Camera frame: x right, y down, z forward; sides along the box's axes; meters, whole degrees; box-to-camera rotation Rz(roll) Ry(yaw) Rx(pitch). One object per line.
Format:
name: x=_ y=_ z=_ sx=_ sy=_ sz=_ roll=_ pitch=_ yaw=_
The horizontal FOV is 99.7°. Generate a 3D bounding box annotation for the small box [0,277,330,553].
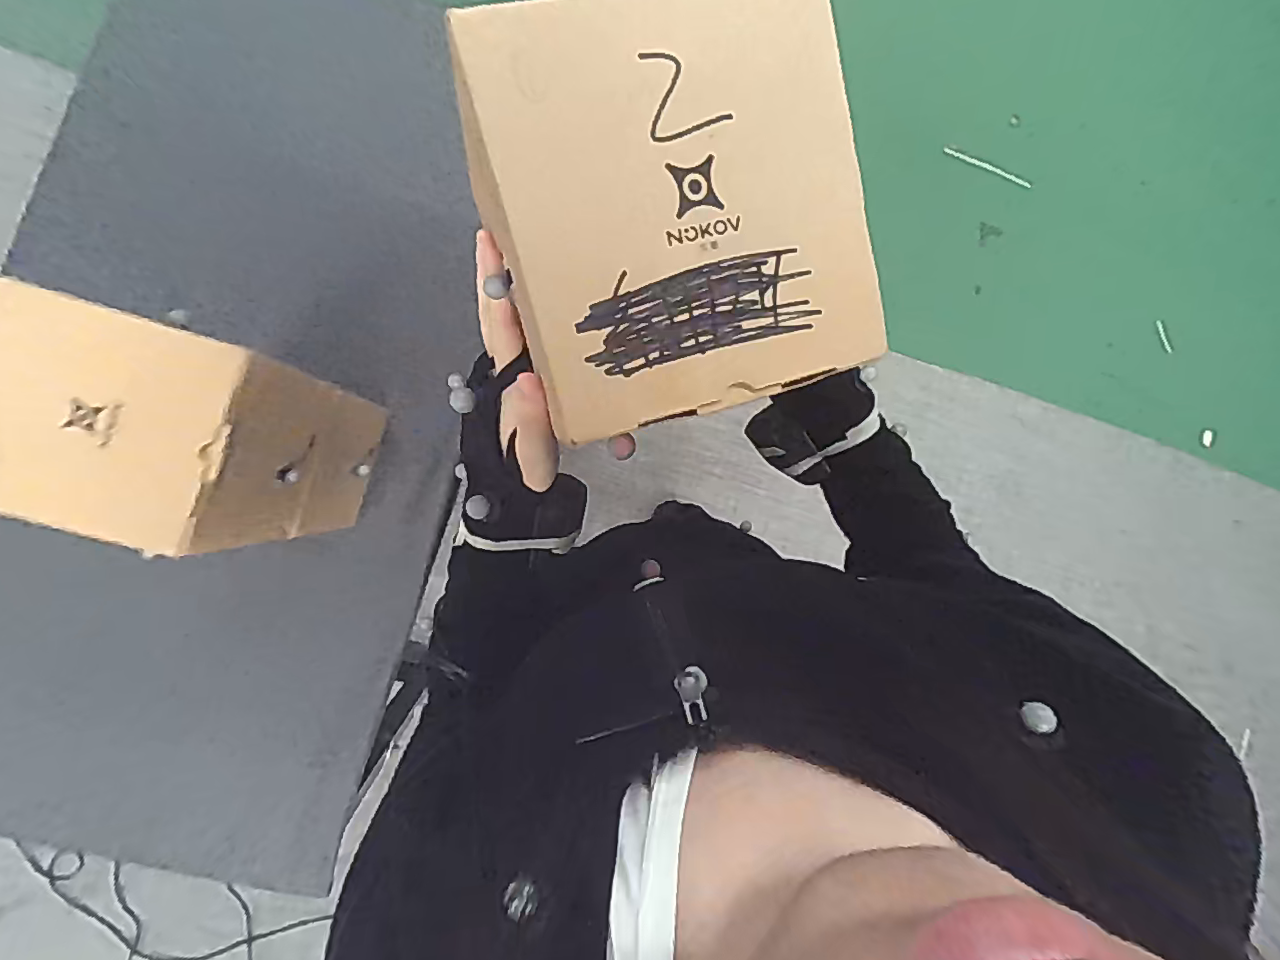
small box: x=-0.414 y=-0.043 z=0.471 sx=0.179 sy=0.176 sz=0.168 roll=16 pitch=86 yaw=-7

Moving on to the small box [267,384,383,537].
small box: x=-0.436 y=-0.039 z=0.632 sx=0.179 sy=0.176 sz=0.168 roll=16 pitch=87 yaw=-7
